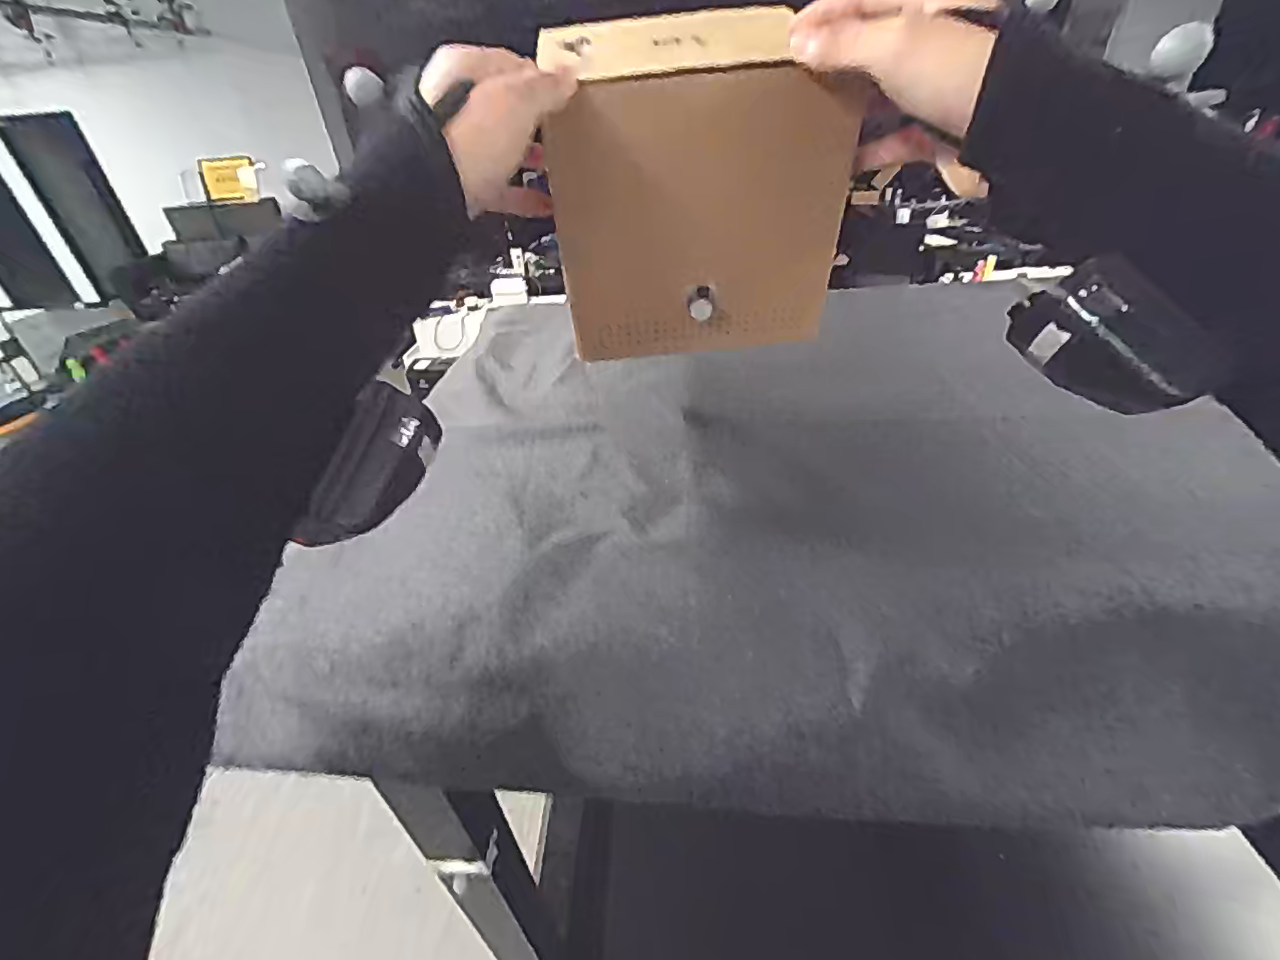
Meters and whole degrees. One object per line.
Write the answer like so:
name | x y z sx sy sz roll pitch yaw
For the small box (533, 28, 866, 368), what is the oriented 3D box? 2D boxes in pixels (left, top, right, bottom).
small box | 0.028 -0.198 0.388 0.179 0.176 0.168 -6 46 -2
